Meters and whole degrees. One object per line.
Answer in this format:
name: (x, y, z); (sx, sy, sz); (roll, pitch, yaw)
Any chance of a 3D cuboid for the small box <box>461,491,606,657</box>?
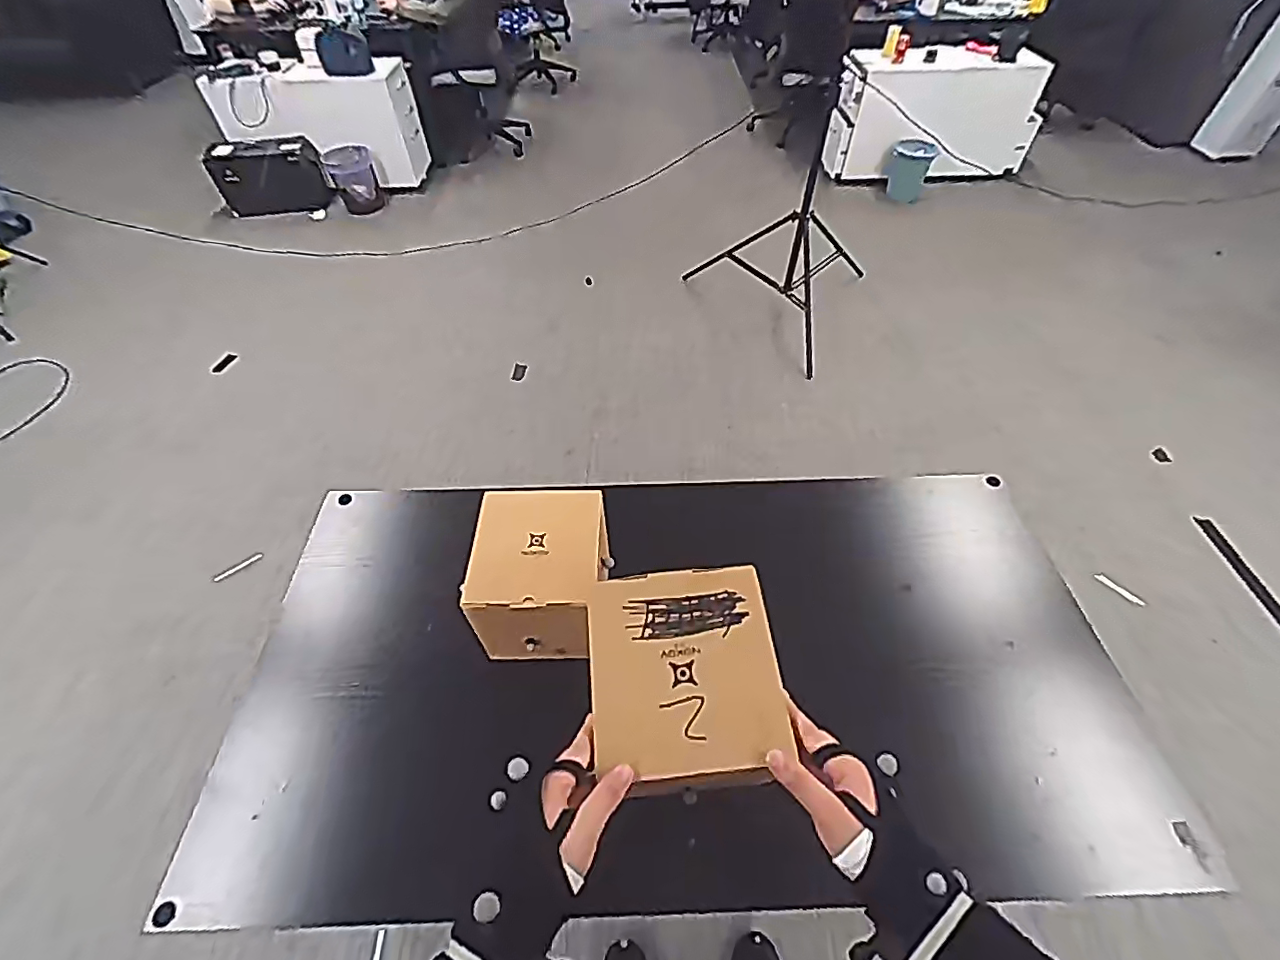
small box: (-0.137, 0.134, 0.767); (0.168, 0.176, 0.179); (-1, 51, 0)
